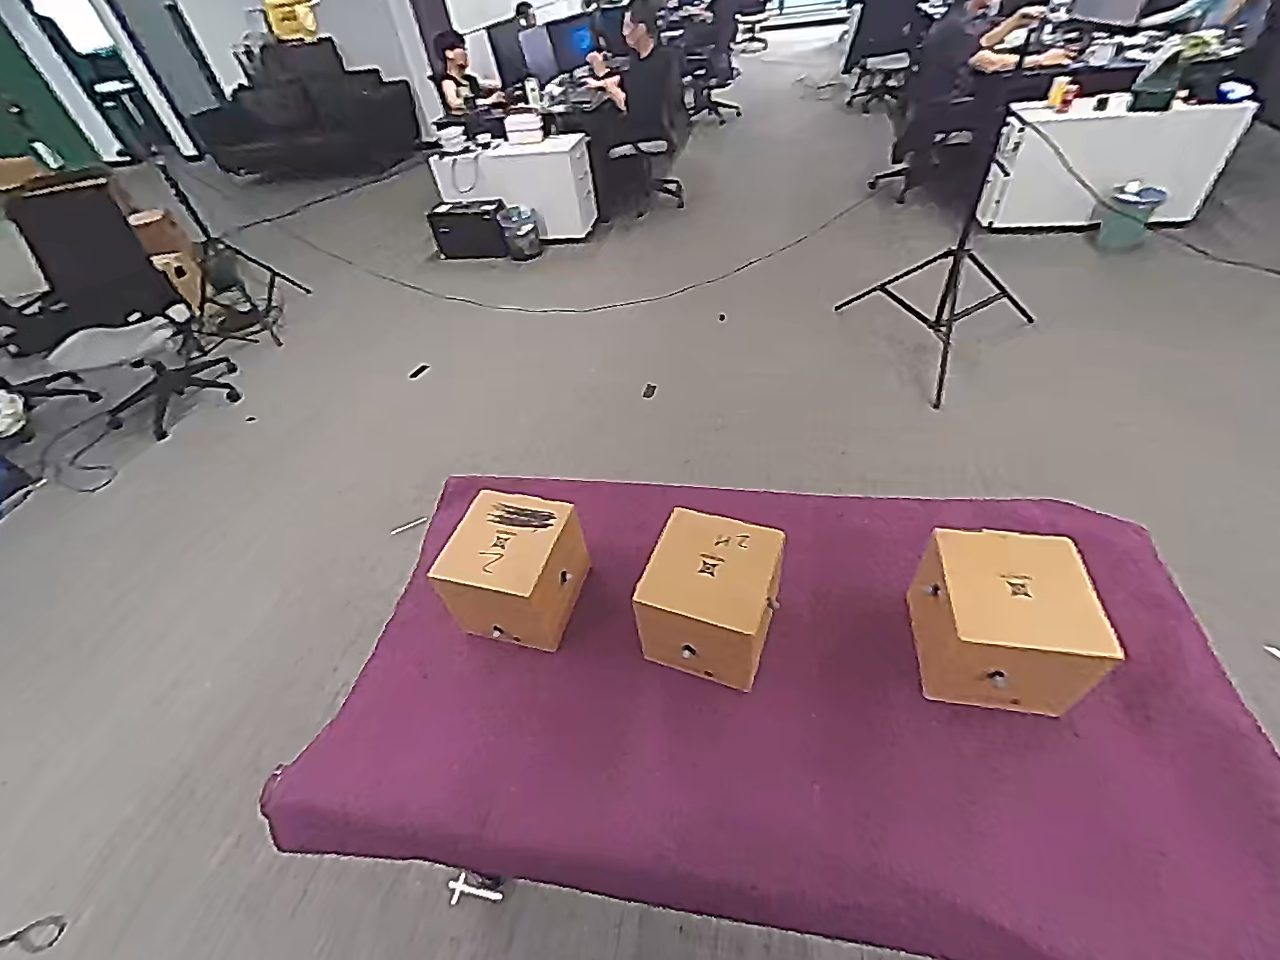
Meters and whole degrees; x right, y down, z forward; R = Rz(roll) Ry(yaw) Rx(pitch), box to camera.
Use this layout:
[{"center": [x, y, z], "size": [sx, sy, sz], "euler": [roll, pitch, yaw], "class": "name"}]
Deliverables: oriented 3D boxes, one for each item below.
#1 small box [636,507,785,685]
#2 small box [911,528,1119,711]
[{"center": [0.110, 0.172, 0.799], "size": [0.168, 0.176, 0.179], "euler": [13, 48, 20], "class": "small box"}, {"center": [0.480, 0.188, 0.728], "size": [0.168, 0.176, 0.179], "euler": [3, 45, 13], "class": "small box"}]
